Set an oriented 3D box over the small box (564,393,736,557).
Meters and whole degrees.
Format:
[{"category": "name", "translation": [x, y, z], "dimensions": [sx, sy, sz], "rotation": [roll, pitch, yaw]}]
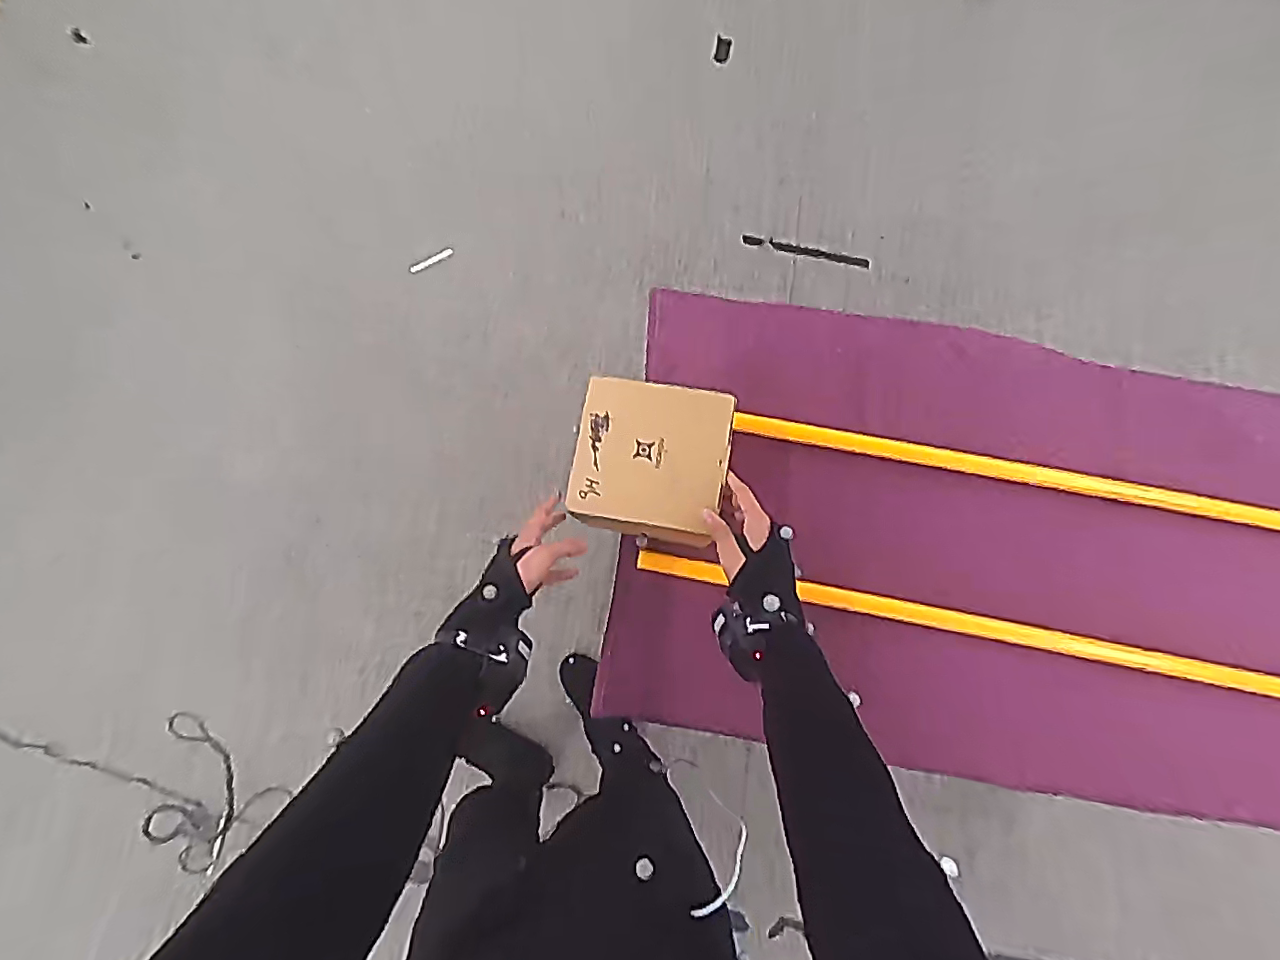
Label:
[{"category": "small box", "translation": [0.016, 0.004, 0.704], "dimensions": [0.179, 0.176, 0.168], "rotation": [10, 79, 5]}]
